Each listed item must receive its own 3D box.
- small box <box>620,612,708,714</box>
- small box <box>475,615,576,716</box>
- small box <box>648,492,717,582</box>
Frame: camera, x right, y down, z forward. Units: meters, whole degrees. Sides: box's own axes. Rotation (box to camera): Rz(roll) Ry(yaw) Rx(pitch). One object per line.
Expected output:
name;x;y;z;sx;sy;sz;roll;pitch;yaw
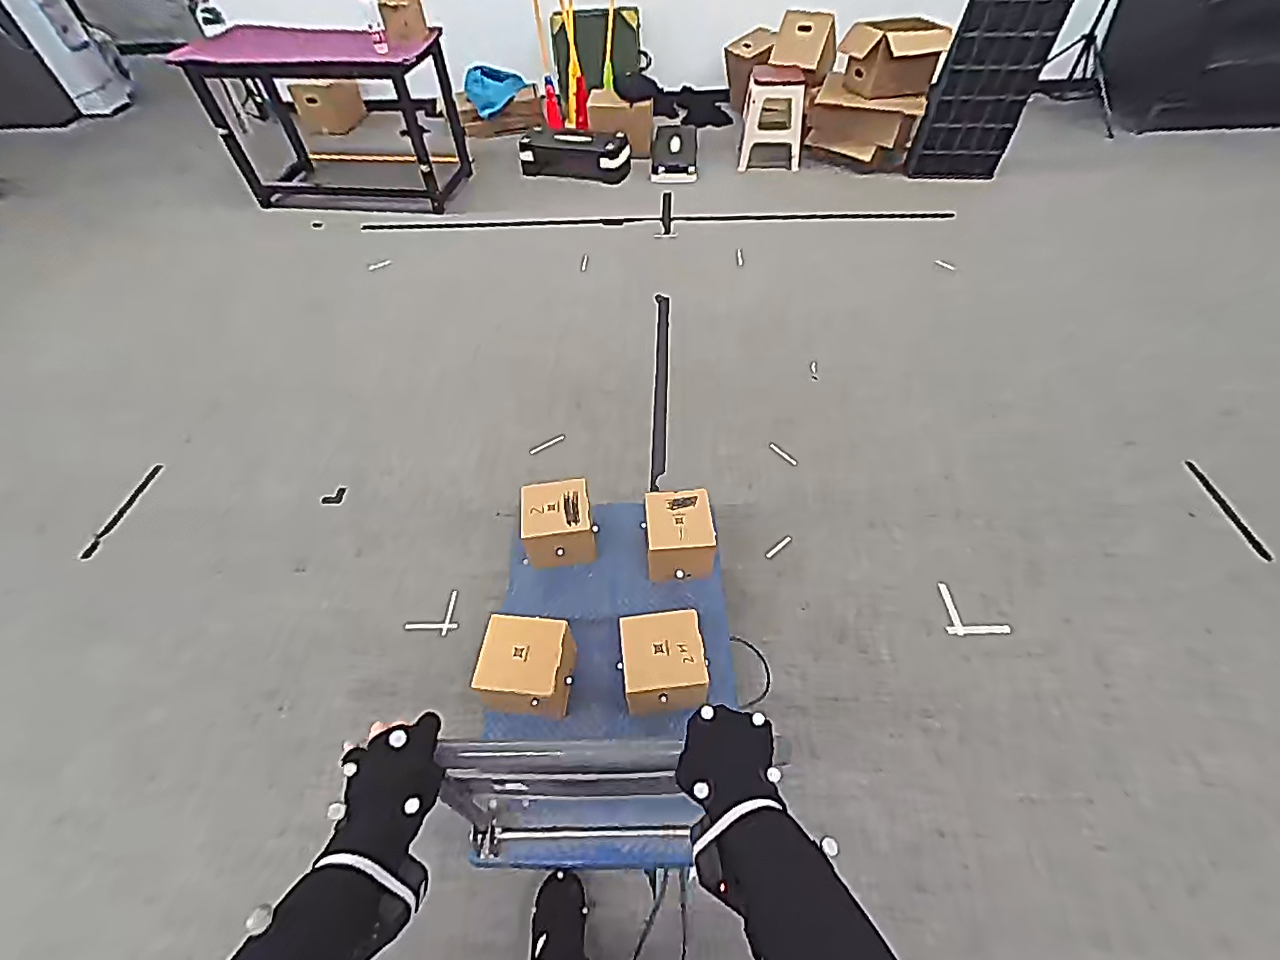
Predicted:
small box;0.054;0.417;1.223;0.179;0.176;0.168;-6;51;-2
small box;-0.250;0.425;1.230;0.179;0.176;0.168;4;51;4
small box;0.106;0.153;1.432;0.168;0.176;0.179;-4;52;0
